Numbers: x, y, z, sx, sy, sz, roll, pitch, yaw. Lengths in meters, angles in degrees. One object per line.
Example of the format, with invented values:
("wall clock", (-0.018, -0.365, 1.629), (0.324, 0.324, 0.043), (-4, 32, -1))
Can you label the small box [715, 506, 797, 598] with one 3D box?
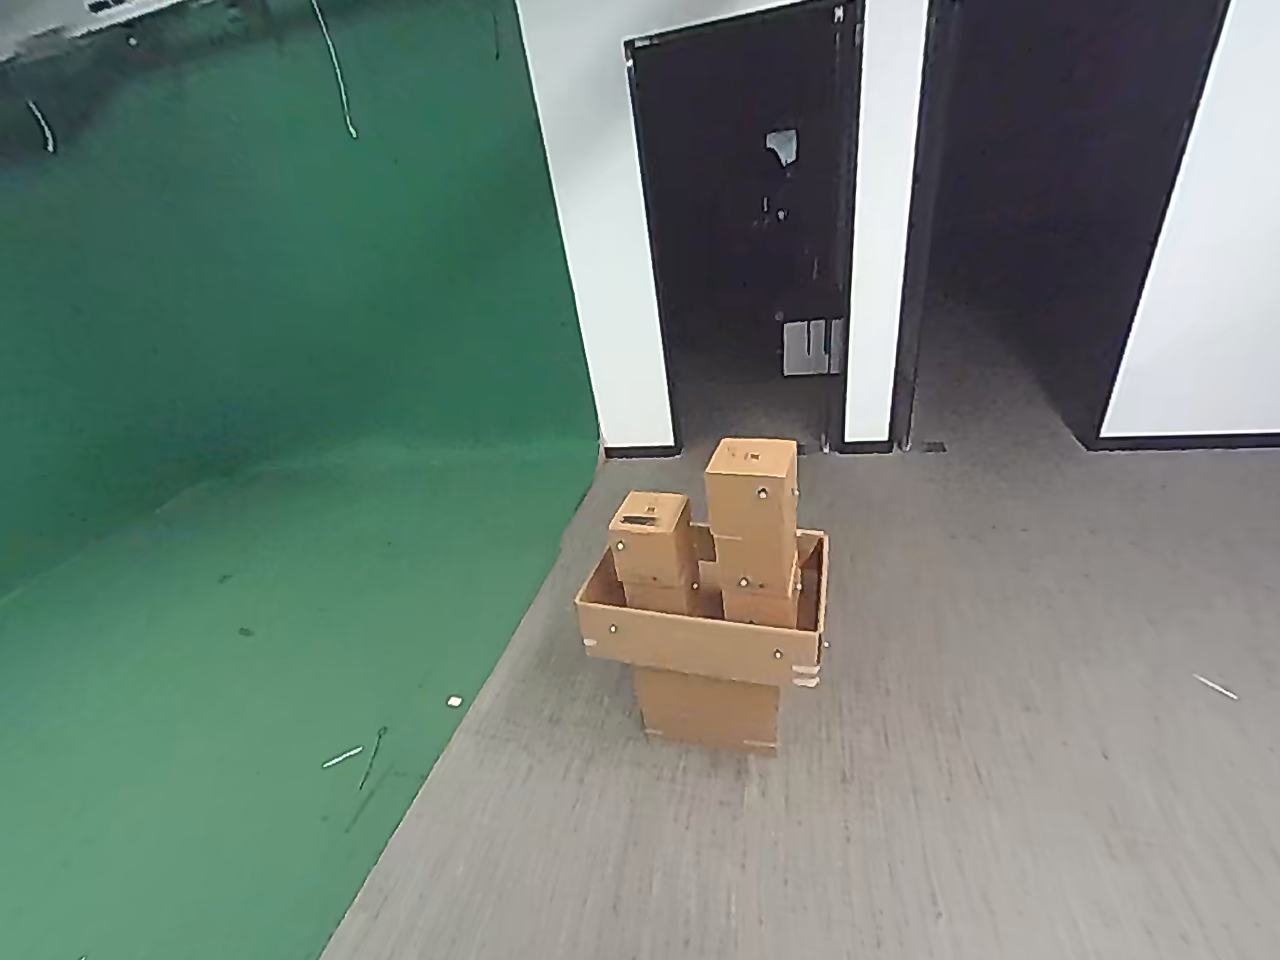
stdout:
("small box", (0.290, 0.159, 1.319), (0.168, 0.176, 0.179), (2, 33, 23))

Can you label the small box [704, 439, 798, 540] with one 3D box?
("small box", (0.261, 0.021, 1.234), (0.179, 0.176, 0.168), (2, 32, 25))
